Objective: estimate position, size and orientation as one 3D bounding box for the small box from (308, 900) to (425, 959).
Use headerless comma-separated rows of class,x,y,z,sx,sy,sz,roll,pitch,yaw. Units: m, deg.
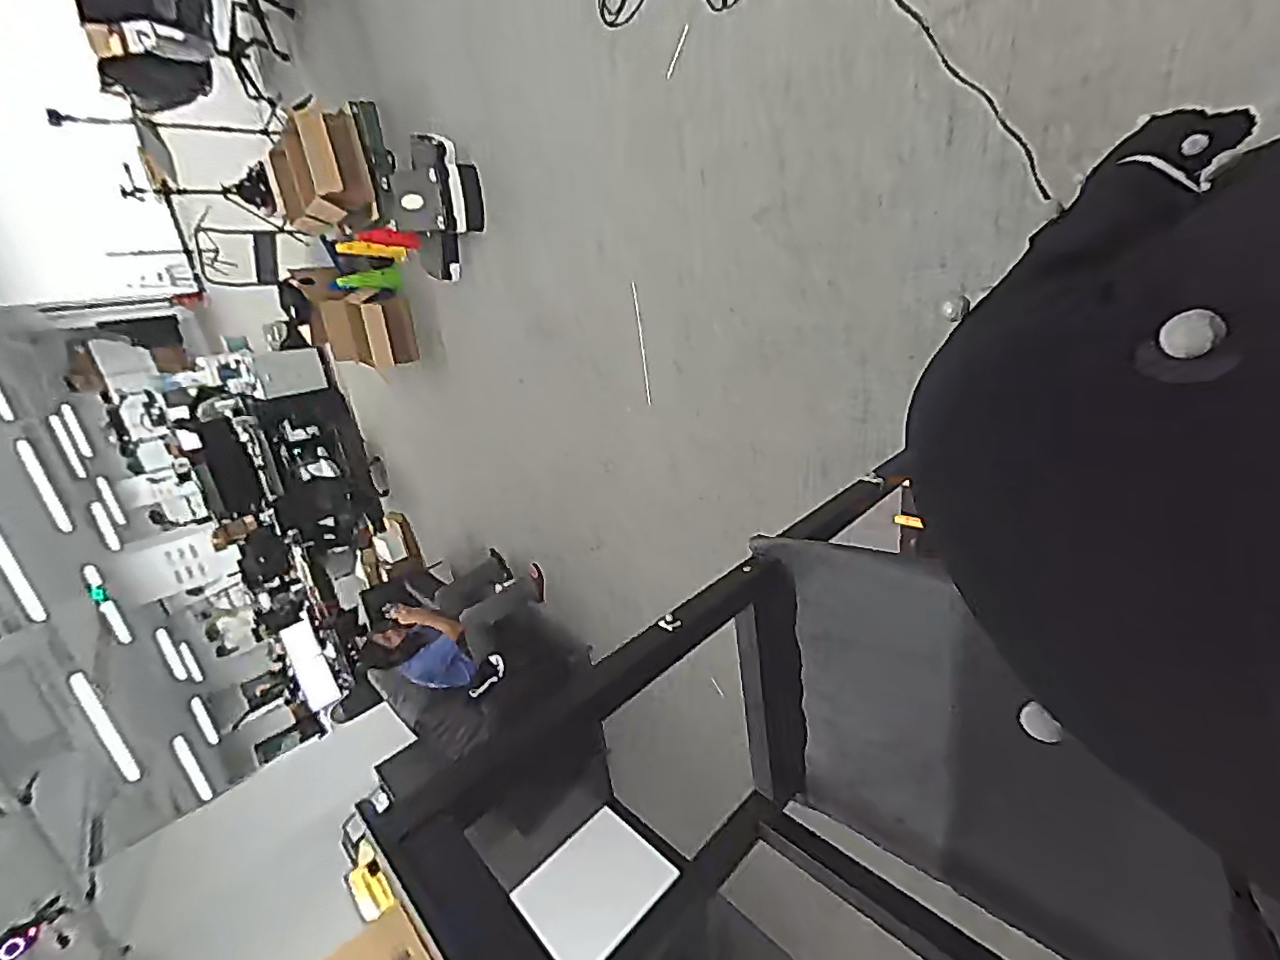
small box,-0.249,0.533,0.471,0.168,0.176,0.179,15,120,44
